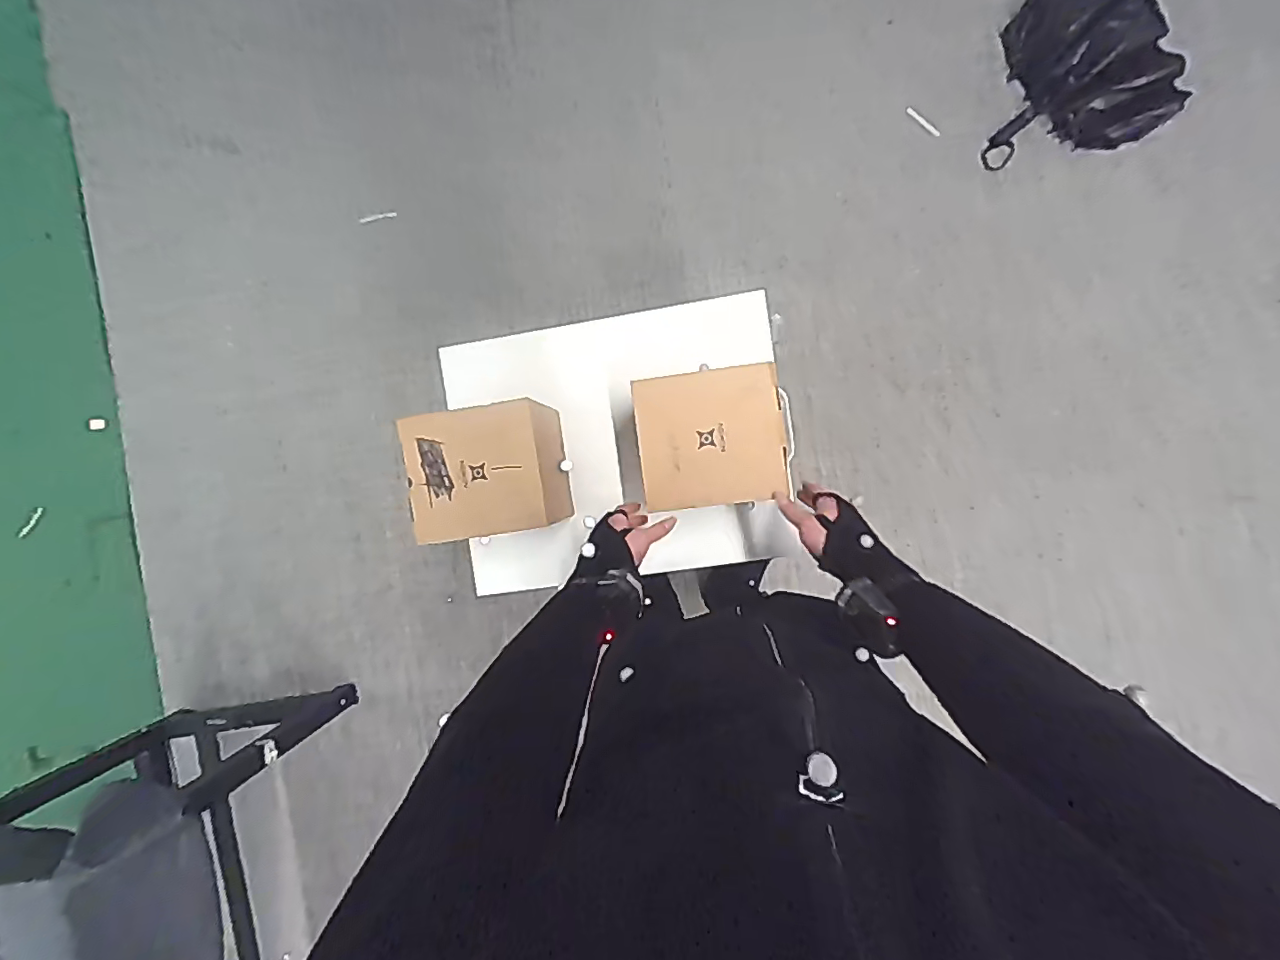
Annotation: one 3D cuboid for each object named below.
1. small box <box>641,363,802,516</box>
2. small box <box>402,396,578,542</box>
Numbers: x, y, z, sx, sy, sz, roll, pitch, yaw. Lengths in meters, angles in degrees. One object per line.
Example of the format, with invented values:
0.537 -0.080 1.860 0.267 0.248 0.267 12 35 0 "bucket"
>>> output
0.103 -0.049 0.718 0.179 0.176 0.168 -7 90 7 "small box"
-0.194 -0.014 0.744 0.179 0.176 0.168 -8 91 3 "small box"
